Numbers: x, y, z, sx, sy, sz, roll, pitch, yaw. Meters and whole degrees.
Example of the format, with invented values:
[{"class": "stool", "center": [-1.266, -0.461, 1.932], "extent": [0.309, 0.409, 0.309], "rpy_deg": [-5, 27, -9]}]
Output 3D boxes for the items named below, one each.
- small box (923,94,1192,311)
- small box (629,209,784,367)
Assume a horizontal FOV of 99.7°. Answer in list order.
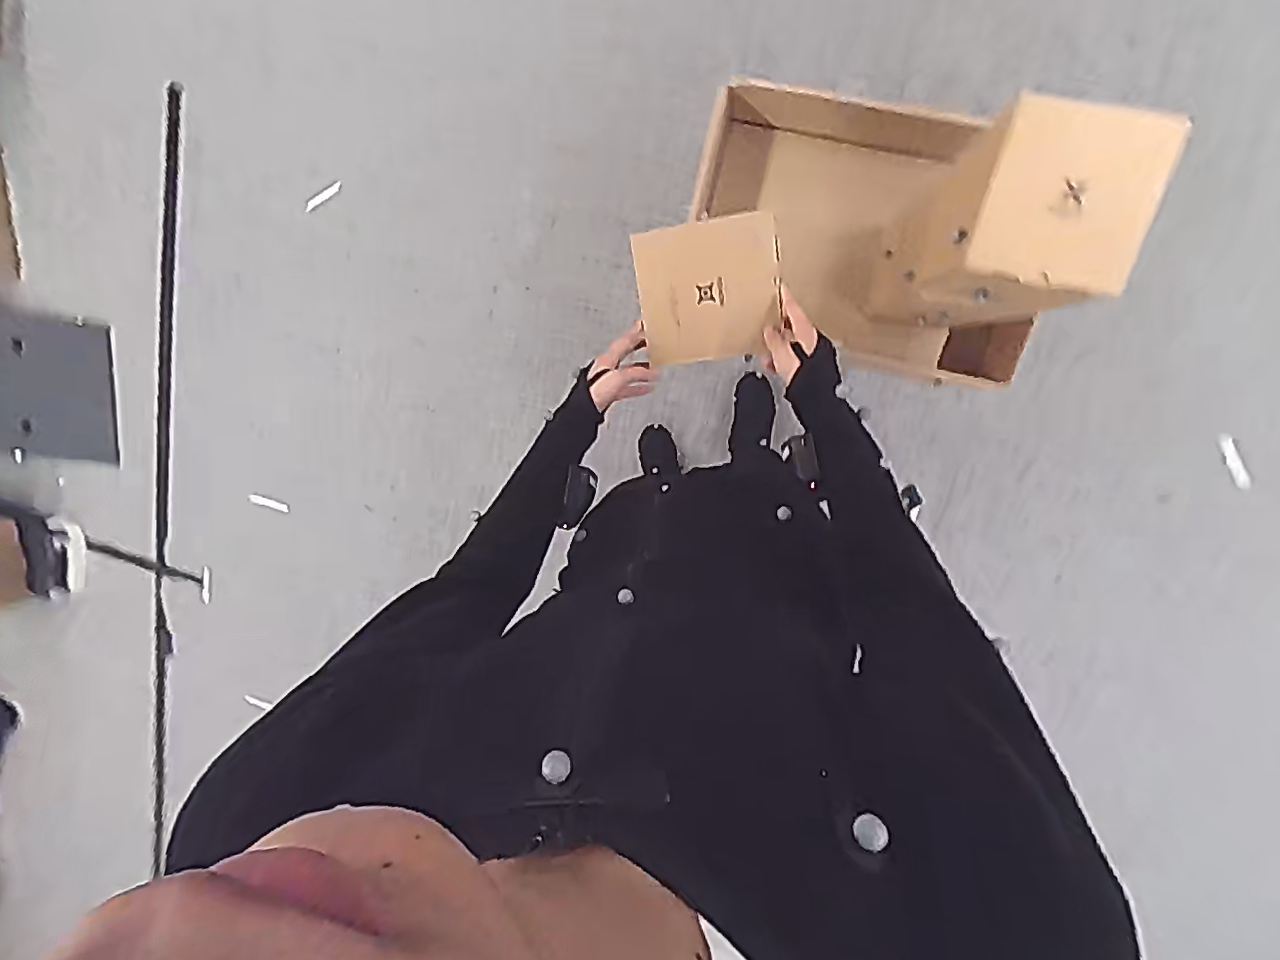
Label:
[{"class": "small box", "center": [0.466, -0.310, 0.642], "extent": [0.168, 0.176, 0.179], "rpy_deg": [15, 105, 7]}, {"class": "small box", "center": [0.091, -0.256, 0.738], "extent": [0.179, 0.176, 0.168], "rpy_deg": [-7, 106, 10]}]
